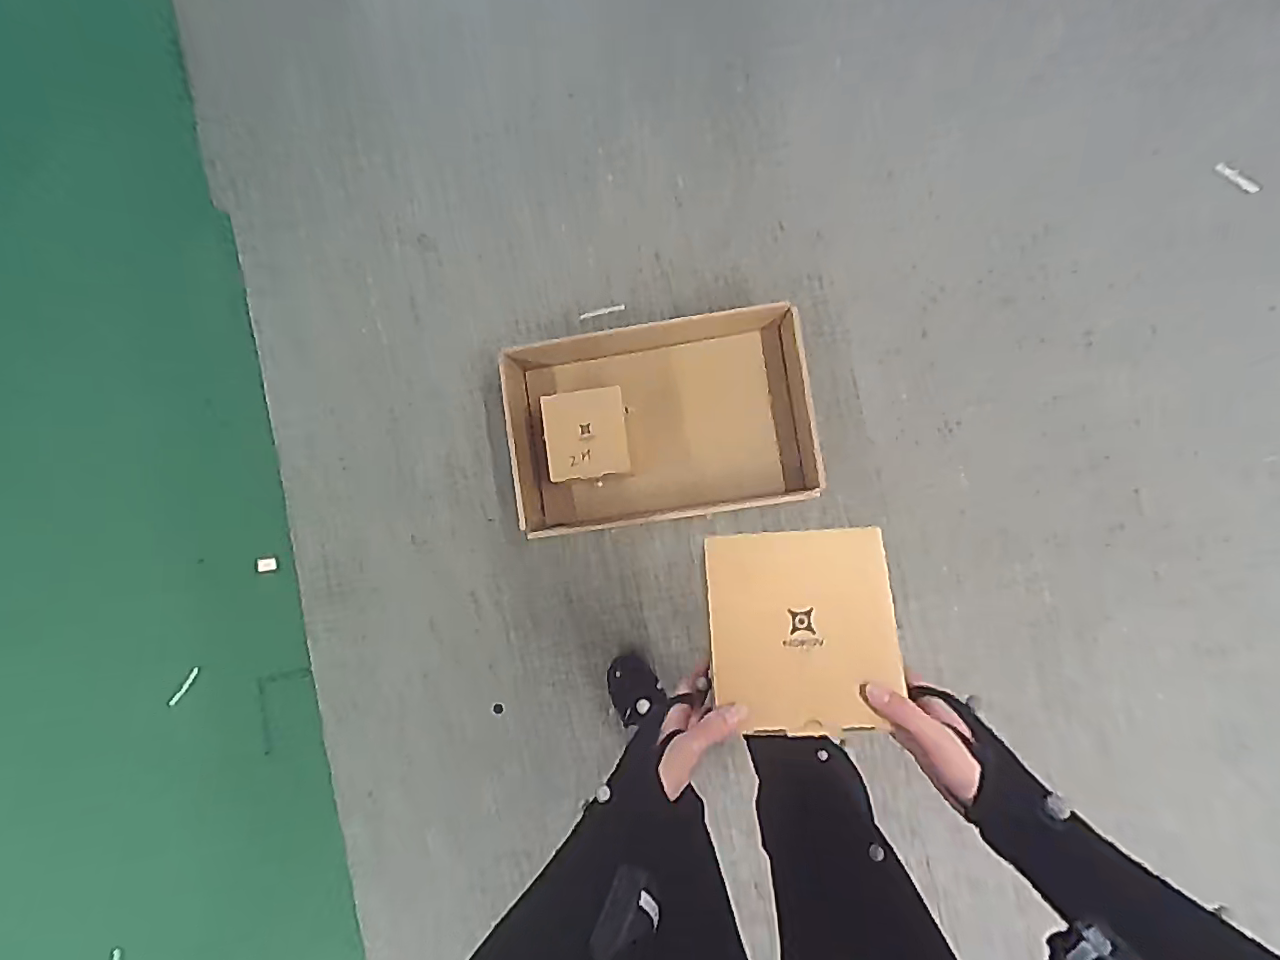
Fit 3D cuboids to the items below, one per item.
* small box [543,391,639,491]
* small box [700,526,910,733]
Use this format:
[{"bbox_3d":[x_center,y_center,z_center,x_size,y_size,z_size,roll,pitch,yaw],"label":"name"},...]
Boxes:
[{"bbox_3d":[-0.098,-0.076,1.146,0.168,0.176,0.179,-8,86,5],"label":"small box"},{"bbox_3d":[0.150,0.153,0.558,0.168,0.176,0.179,-4,74,5],"label":"small box"}]
